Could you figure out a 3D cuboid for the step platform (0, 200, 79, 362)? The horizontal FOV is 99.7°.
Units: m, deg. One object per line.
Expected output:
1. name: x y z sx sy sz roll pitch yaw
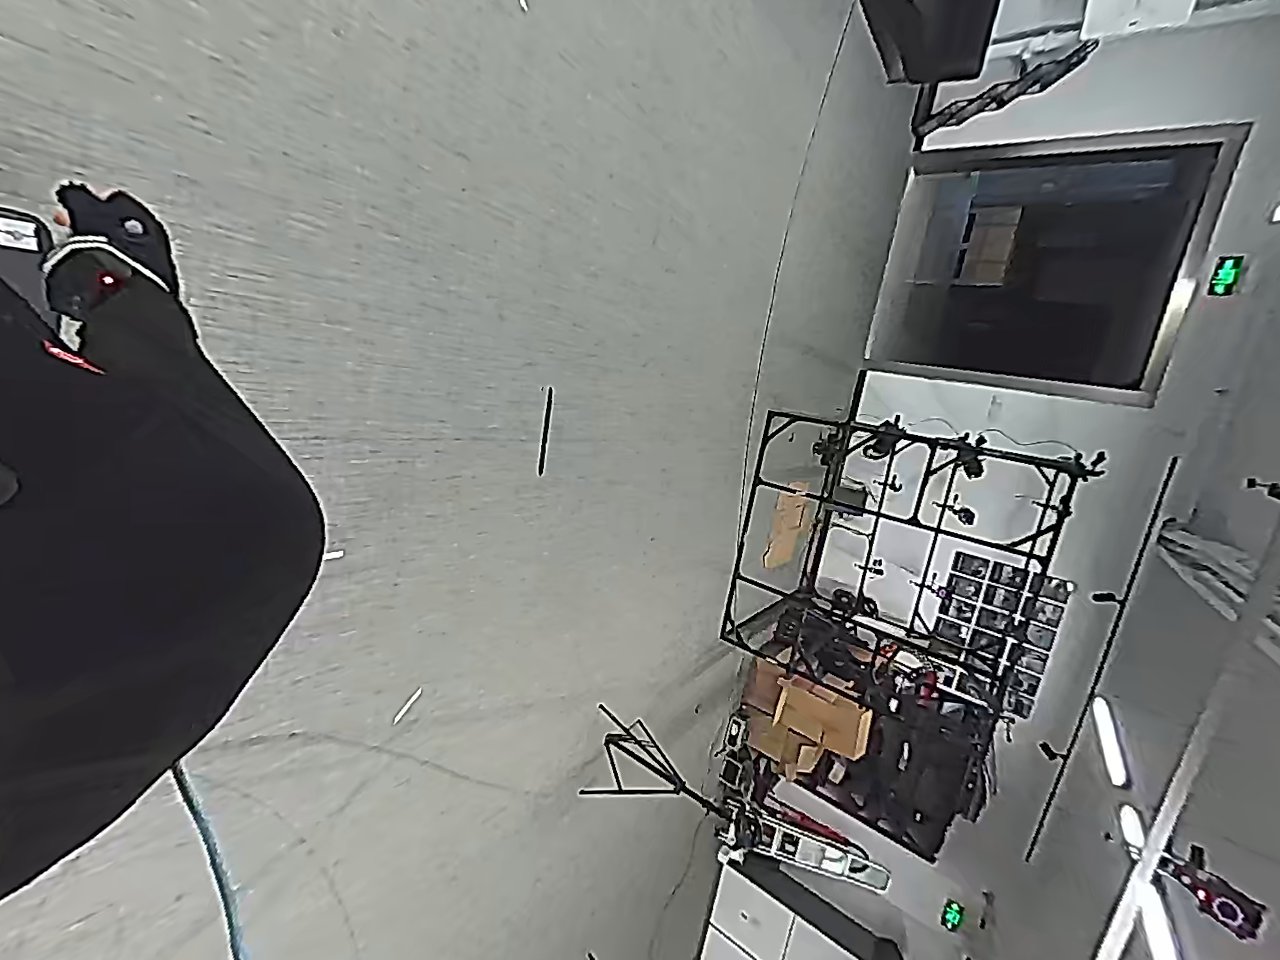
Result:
1. step platform: -1.336 -0.356 0.815 0.684 0.204 0.286 -8 111 -55
